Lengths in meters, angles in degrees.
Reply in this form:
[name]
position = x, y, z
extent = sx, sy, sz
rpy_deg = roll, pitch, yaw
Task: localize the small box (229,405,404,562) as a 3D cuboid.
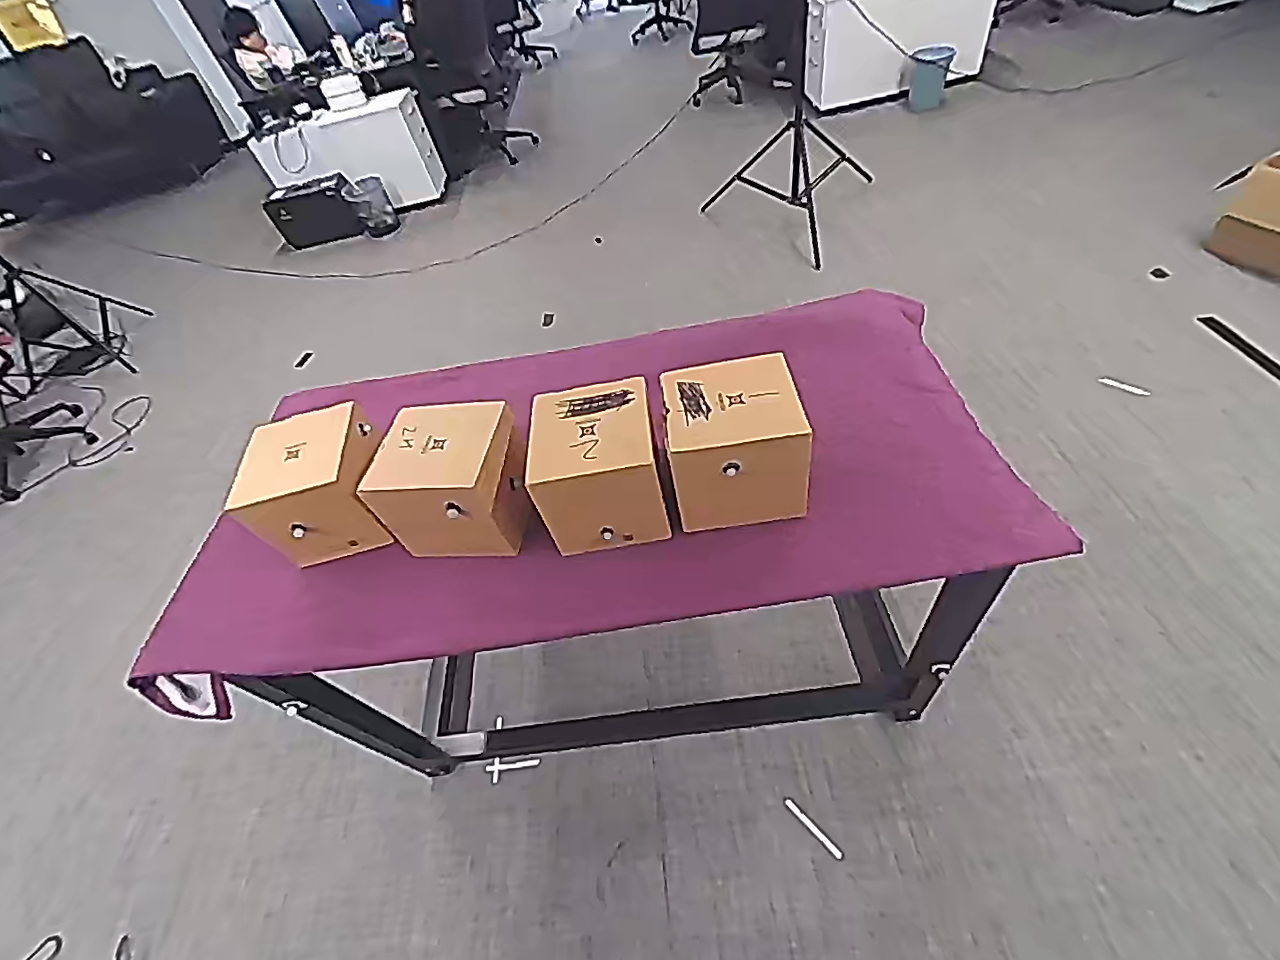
[small box]
position = -0.502, 0.014, 0.871
extent = 0.168, 0.176, 0.179
rpy_deg = -16, 49, 0
